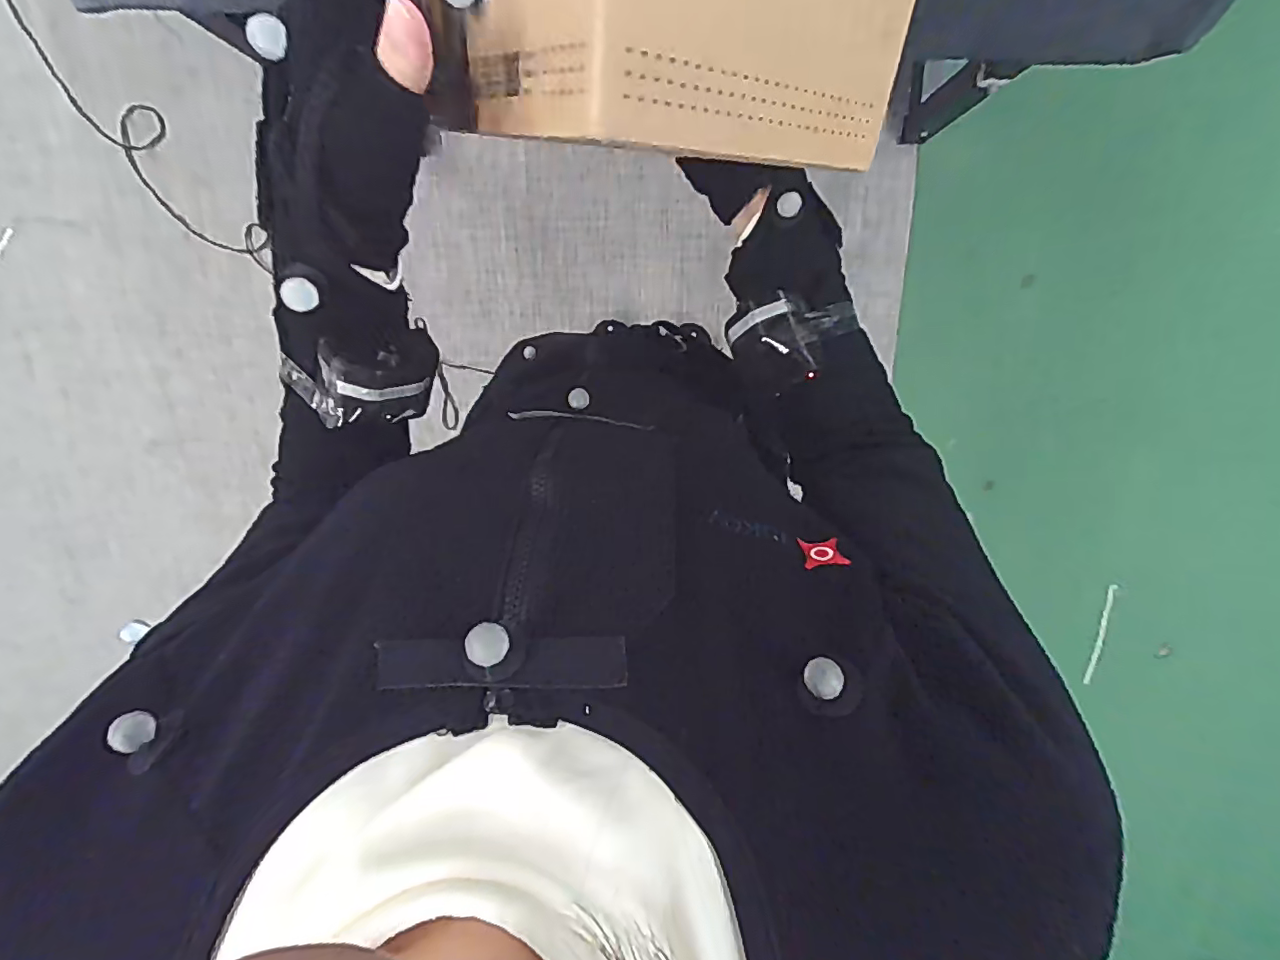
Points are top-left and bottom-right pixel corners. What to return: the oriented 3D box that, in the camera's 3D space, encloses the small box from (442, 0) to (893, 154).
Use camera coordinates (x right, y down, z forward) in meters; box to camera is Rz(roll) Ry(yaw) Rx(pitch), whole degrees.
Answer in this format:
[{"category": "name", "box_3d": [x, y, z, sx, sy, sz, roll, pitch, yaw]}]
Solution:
[{"category": "small box", "box_3d": [0.012, -0.257, 0.257, 0.179, 0.168, 0.176, -18, 128, -34]}]
